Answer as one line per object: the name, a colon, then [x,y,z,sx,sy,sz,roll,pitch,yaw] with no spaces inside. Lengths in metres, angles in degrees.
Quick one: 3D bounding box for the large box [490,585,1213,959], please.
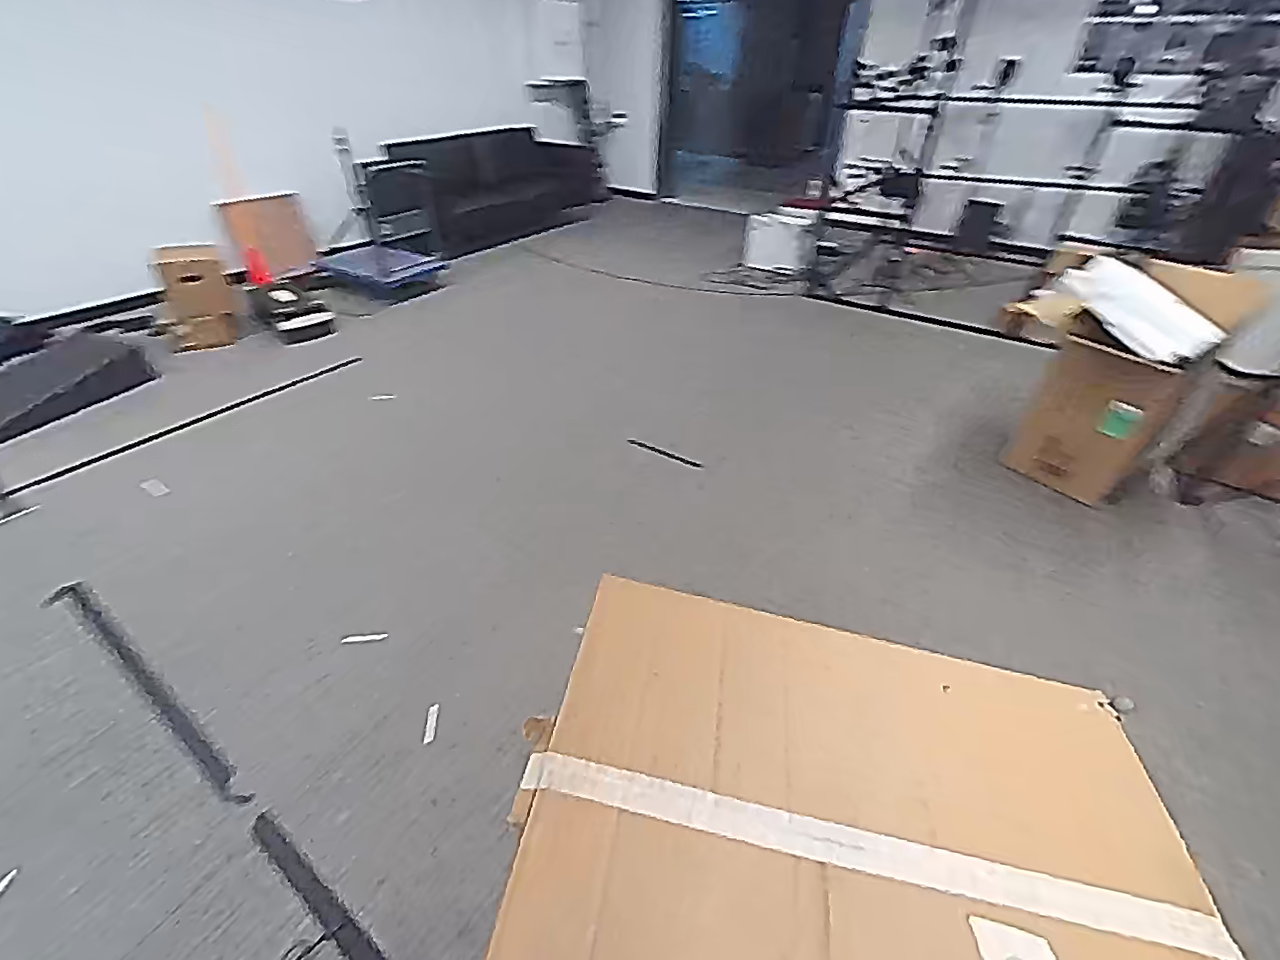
large box: [0.108,0.332,0.420,0.408,0.320,0.320,13,41,1]
